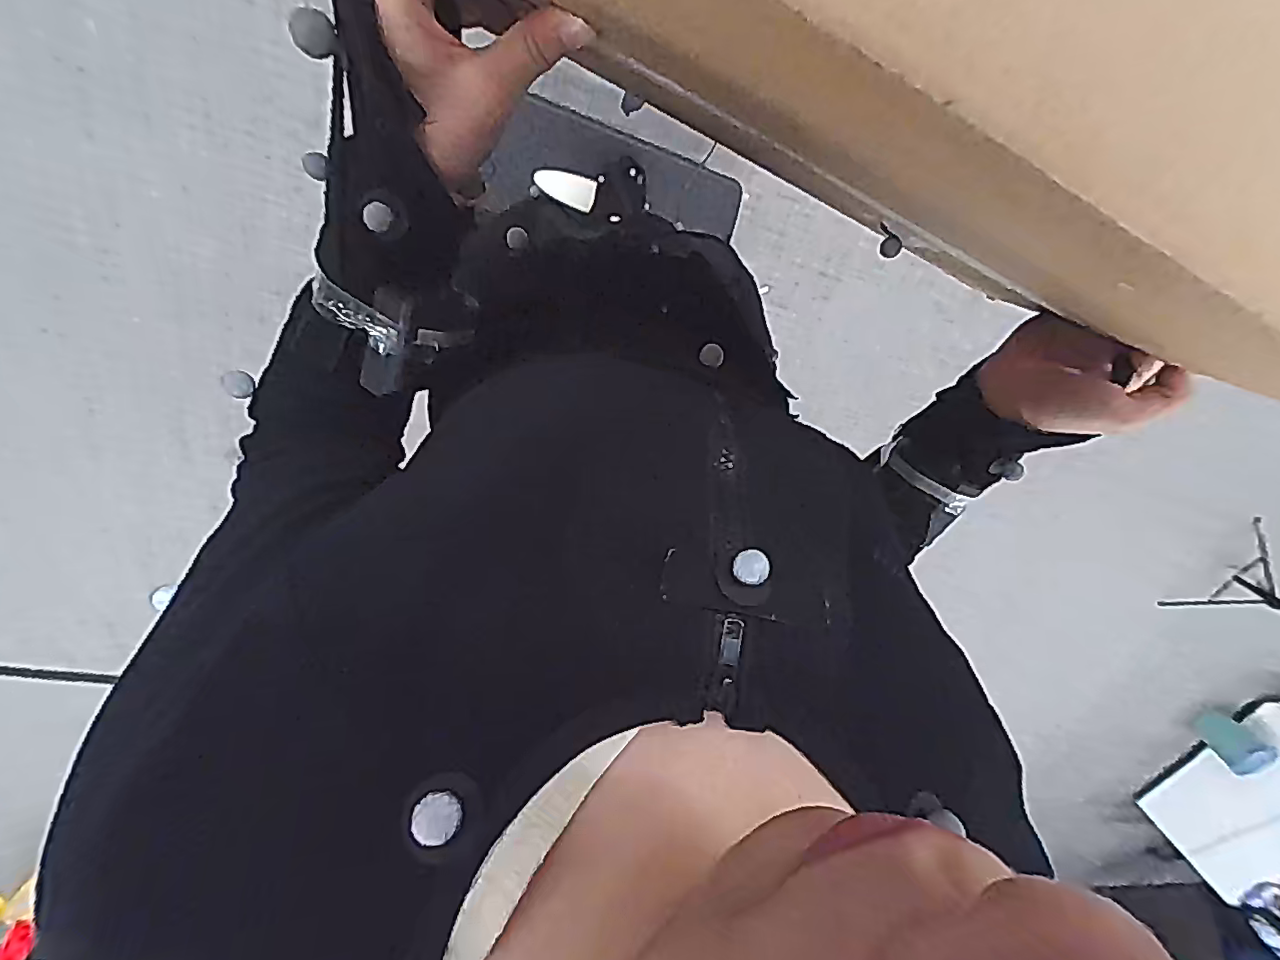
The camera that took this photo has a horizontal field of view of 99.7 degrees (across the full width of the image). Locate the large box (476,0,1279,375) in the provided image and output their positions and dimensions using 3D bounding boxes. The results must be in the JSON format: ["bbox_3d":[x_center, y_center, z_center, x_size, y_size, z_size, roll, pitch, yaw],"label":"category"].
[{"bbox_3d":[0.156,-0.278,0.195,0.408,0.320,0.320,19,120,-14],"label":"large box"}]
